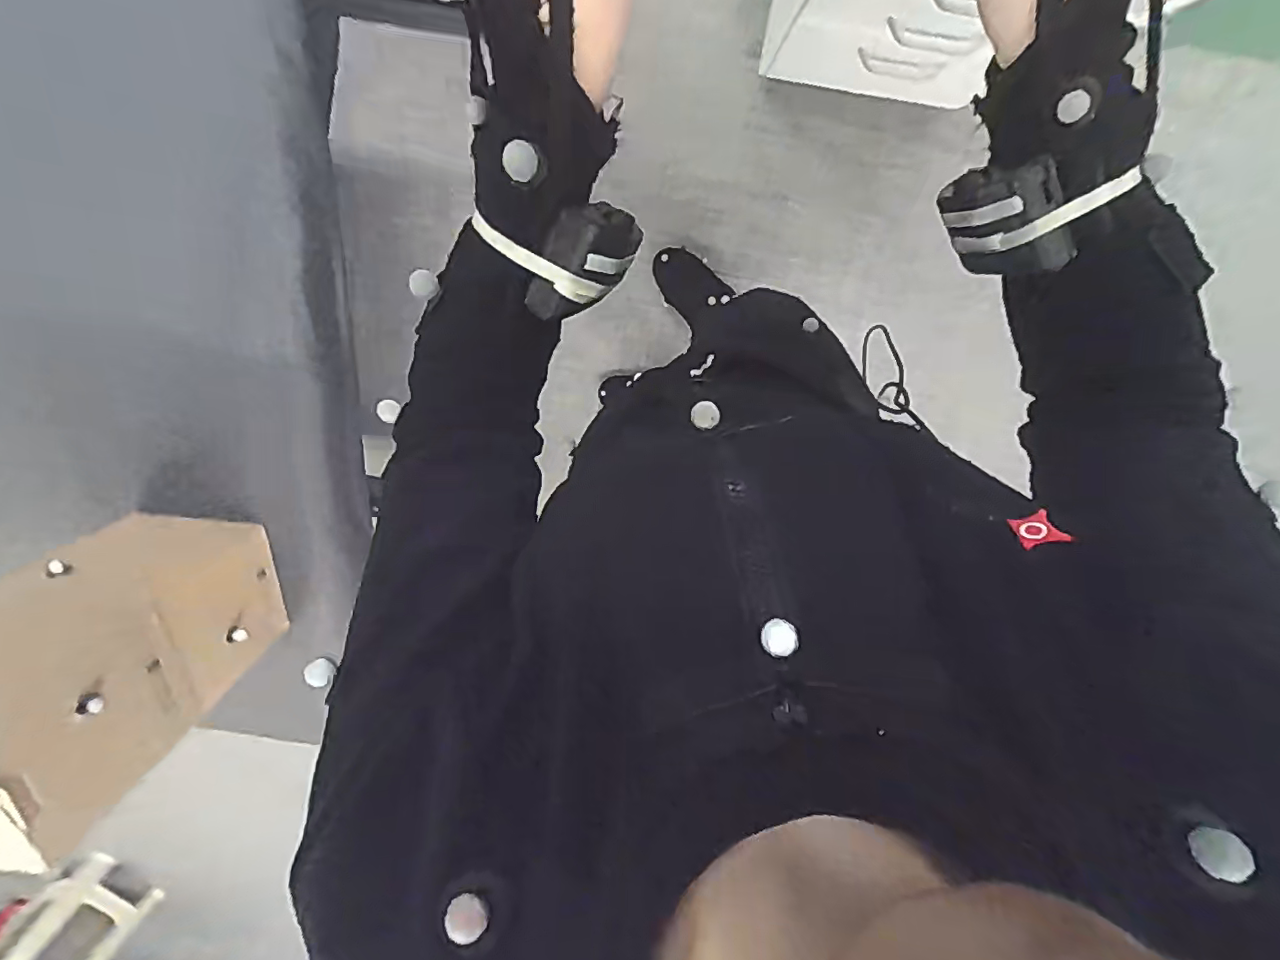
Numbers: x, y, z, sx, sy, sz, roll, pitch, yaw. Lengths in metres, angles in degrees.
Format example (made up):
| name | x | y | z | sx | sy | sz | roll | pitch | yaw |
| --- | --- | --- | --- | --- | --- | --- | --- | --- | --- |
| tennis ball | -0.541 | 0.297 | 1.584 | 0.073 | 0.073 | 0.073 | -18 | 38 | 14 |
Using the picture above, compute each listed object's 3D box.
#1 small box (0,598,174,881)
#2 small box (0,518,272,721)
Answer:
| name | x | y | z | sx | sy | sz | roll | pitch | yaw |
| --- | --- | --- | --- | --- | --- | --- | --- | --- | --- |
| small box | -0.586 | 0.225 | 0.499 | 0.179 | 0.176 | 0.168 | 4 | 113 | 3 |
| small box | -0.580 | 0.157 | 0.646 | 0.179 | 0.176 | 0.168 | 4 | 114 | 1 |
